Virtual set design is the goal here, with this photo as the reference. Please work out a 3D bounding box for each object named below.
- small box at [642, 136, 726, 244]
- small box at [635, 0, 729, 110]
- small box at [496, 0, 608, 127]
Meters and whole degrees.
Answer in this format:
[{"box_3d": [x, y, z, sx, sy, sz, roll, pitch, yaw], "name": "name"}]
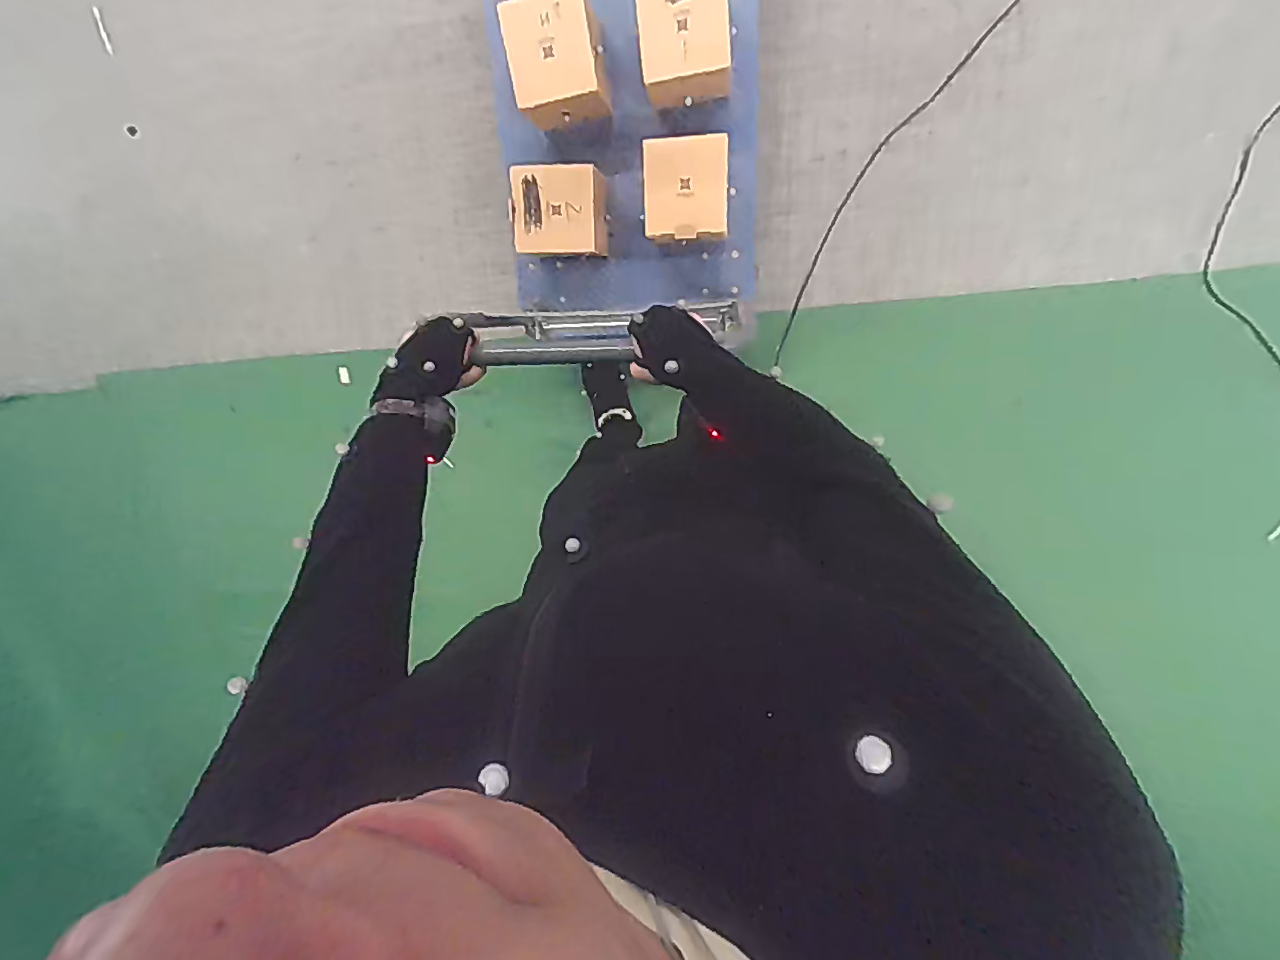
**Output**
[{"box_3d": [0.096, -0.605, 1.147, 0.168, 0.176, 0.179, 0, 110, 8], "name": "small box"}, {"box_3d": [0.084, -0.858, 1.054, 0.168, 0.176, 0.179, -3, 110, 10], "name": "small box"}, {"box_3d": [-0.168, -0.841, 1.095, 0.168, 0.176, 0.179, -6, 109, 9], "name": "small box"}]
